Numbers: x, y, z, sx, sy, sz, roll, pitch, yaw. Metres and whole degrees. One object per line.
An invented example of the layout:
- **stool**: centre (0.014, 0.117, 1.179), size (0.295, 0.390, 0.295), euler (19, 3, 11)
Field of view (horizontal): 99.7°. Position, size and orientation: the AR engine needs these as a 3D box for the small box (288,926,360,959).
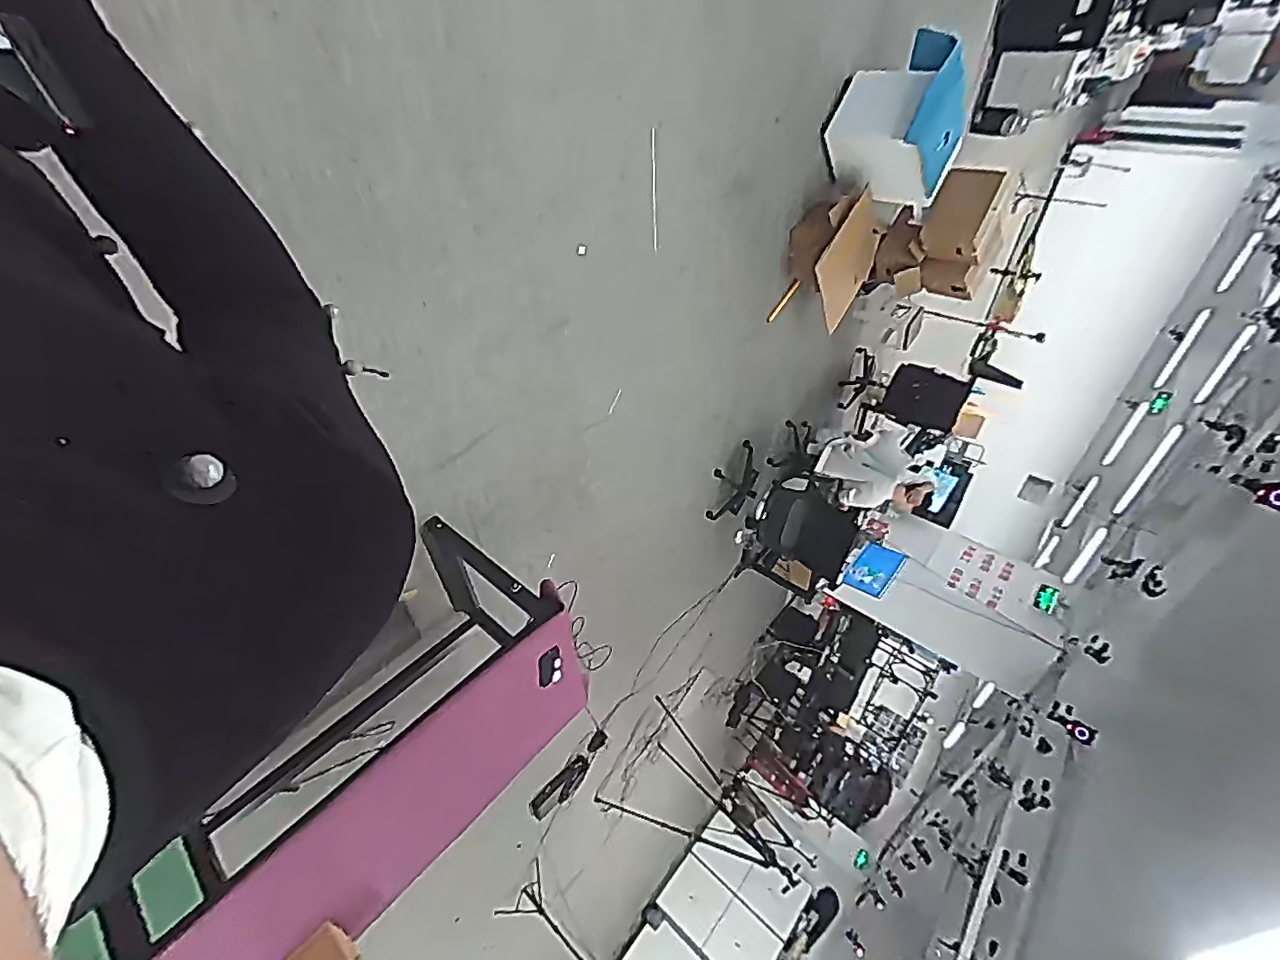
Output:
- **small box**: centre (-0.817, 1.302, 1.387), size (0.168, 0.176, 0.179), euler (-37, 141, -36)
